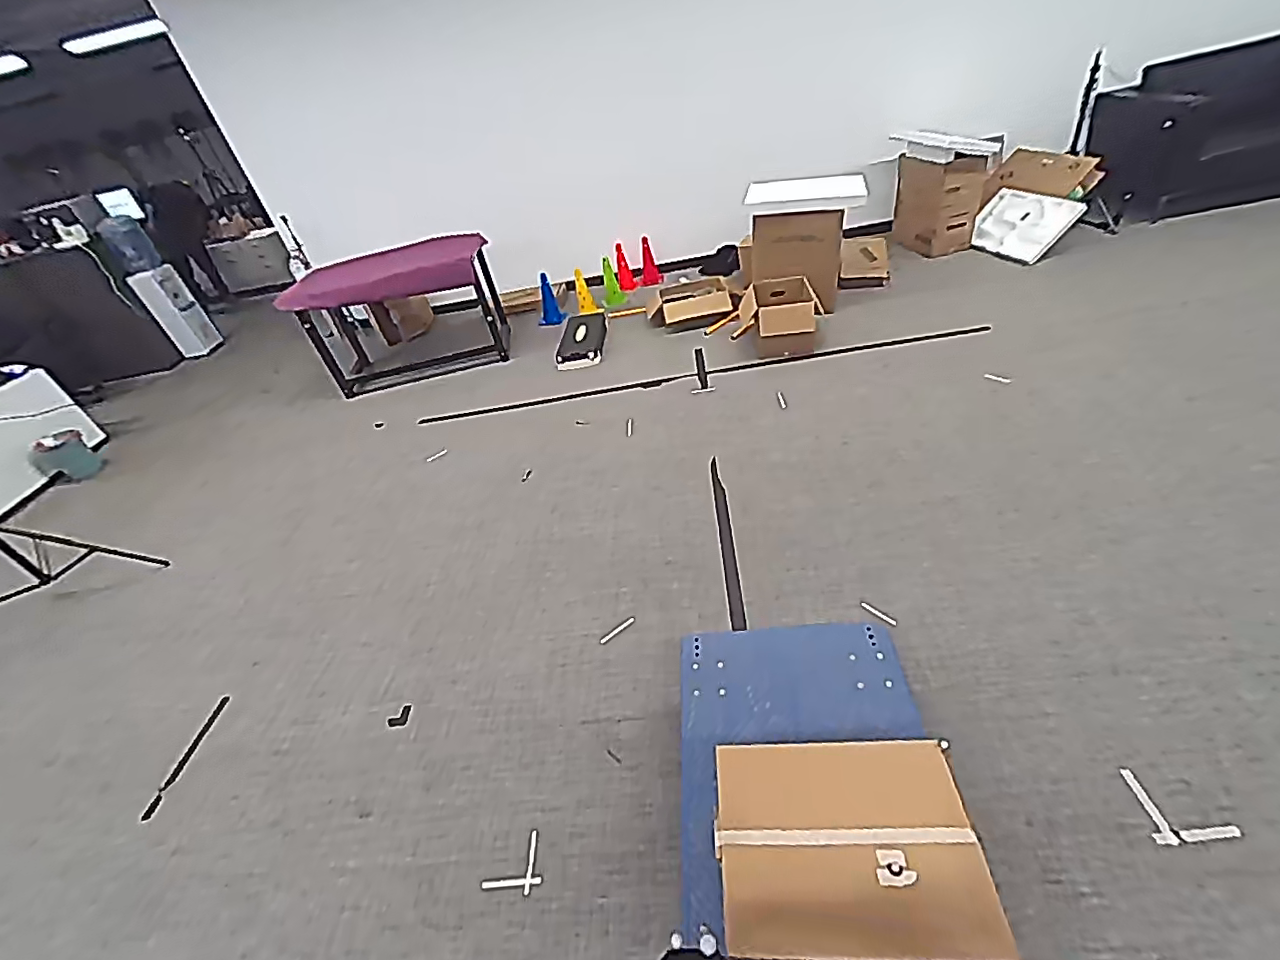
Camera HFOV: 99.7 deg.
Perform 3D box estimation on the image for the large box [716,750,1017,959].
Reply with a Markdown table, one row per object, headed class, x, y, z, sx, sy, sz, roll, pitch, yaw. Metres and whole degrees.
| class | x | y | z | sx | sy | sz | roll | pitch | yaw |
| --- | --- | --- | --- | --- | --- | --- | --- | --- | --- |
| large box | 0.354 | 0.715 | 0.970 | 0.408 | 0.320 | 0.320 | -5 | 39 | 8 |
